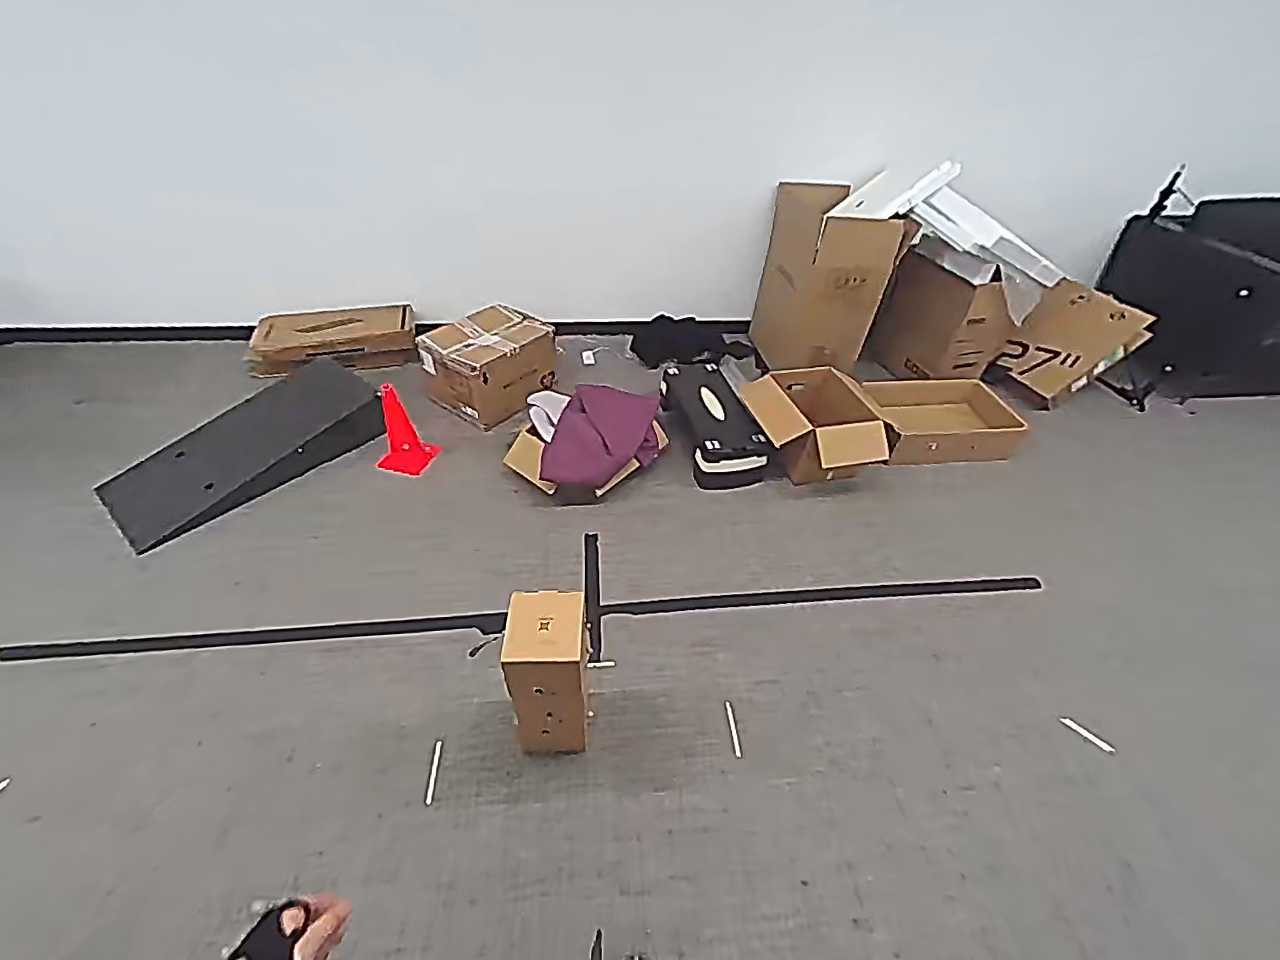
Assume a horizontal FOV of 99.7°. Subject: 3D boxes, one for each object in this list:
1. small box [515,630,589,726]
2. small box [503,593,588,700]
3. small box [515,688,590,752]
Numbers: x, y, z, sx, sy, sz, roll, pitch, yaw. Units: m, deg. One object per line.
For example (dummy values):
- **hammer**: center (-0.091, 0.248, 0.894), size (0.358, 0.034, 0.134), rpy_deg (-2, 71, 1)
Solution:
- **small box**: center (-0.213, 0.485, 1.337), size (0.168, 0.176, 0.179), rpy_deg (0, 43, -3)
- **small box**: center (-0.205, 0.374, 1.217), size (0.168, 0.176, 0.179), rpy_deg (-1, 44, -3)
- **small box**: center (-0.227, 0.610, 1.443), size (0.179, 0.176, 0.168), rpy_deg (1, 43, -3)
